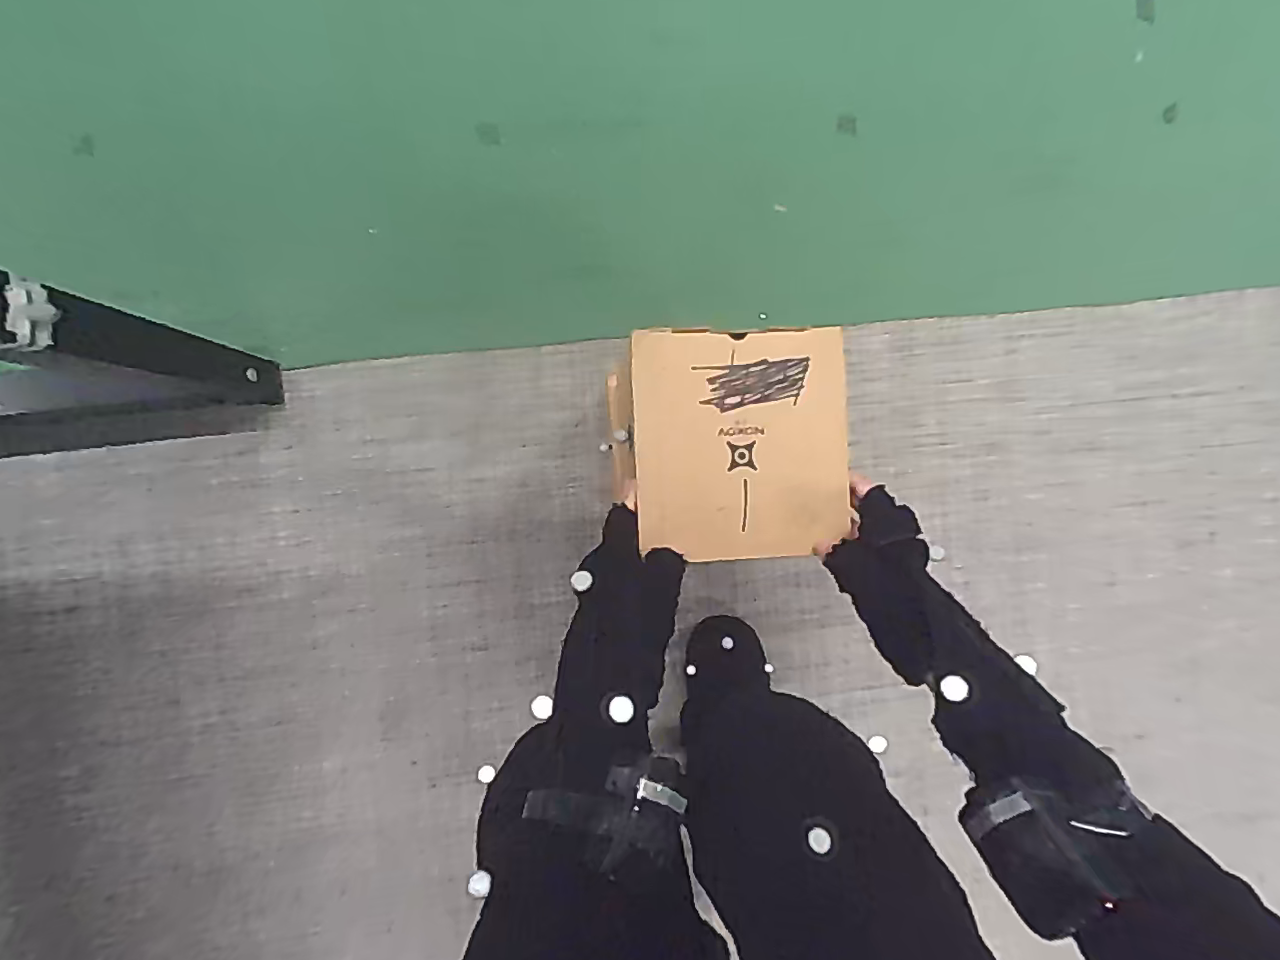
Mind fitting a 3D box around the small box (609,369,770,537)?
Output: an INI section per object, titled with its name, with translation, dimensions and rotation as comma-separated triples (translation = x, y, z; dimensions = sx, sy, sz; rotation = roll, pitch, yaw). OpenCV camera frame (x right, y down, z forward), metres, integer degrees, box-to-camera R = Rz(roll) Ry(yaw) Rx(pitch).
[small box]
translation = 0.050, -0.030, 0.671
dimensions = 0.168, 0.176, 0.179
rotation = -5, 91, -3
